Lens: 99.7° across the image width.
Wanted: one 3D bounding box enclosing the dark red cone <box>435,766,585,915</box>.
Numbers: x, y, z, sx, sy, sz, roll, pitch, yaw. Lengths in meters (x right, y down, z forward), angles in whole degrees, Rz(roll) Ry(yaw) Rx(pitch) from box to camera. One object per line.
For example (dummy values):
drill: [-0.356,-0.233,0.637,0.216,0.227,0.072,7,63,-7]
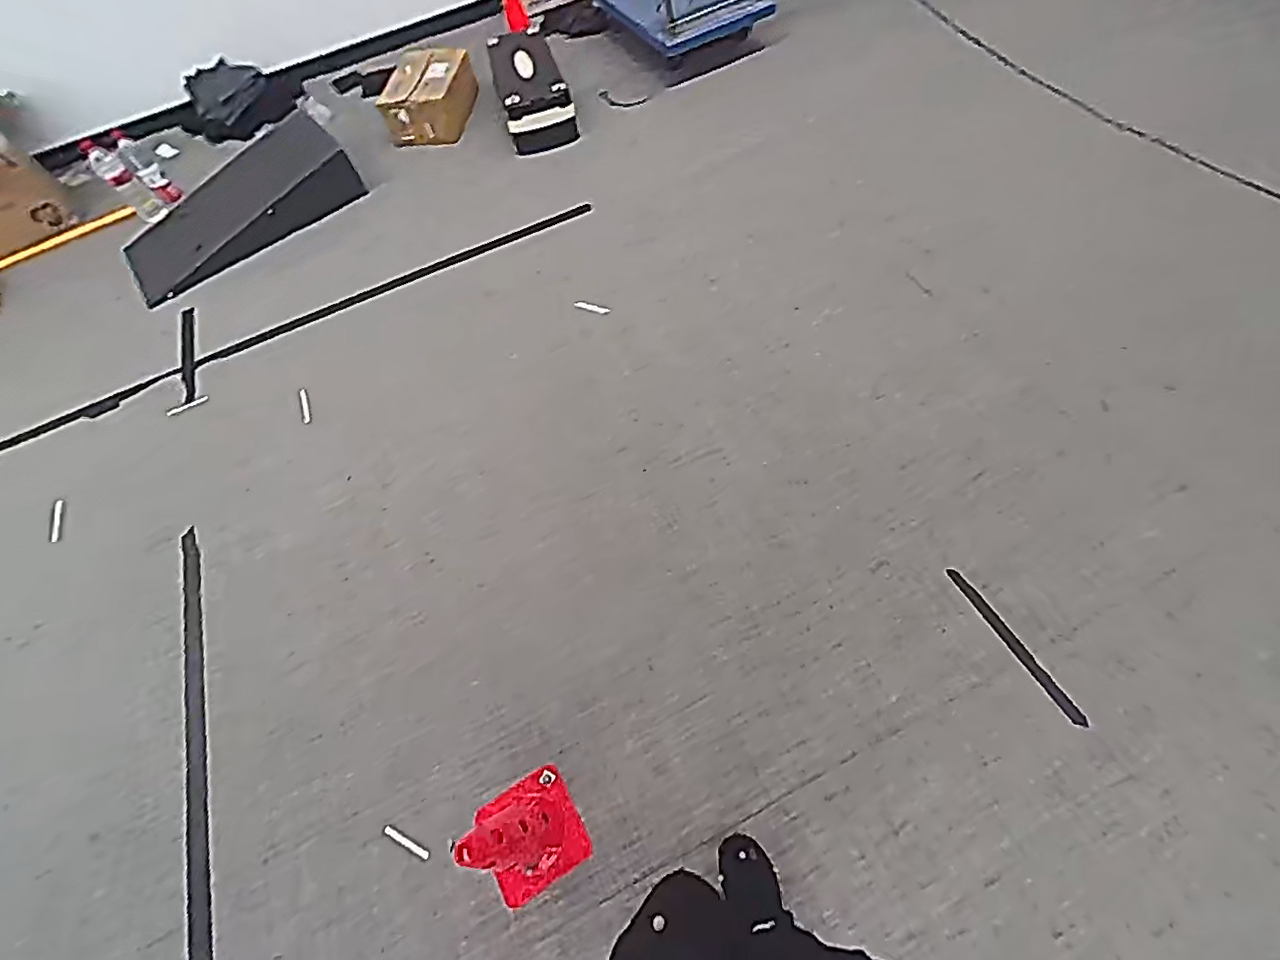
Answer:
dark red cone: [-0.256,0.648,0.958,0.201,0.394,0.202,-33,62,-9]
